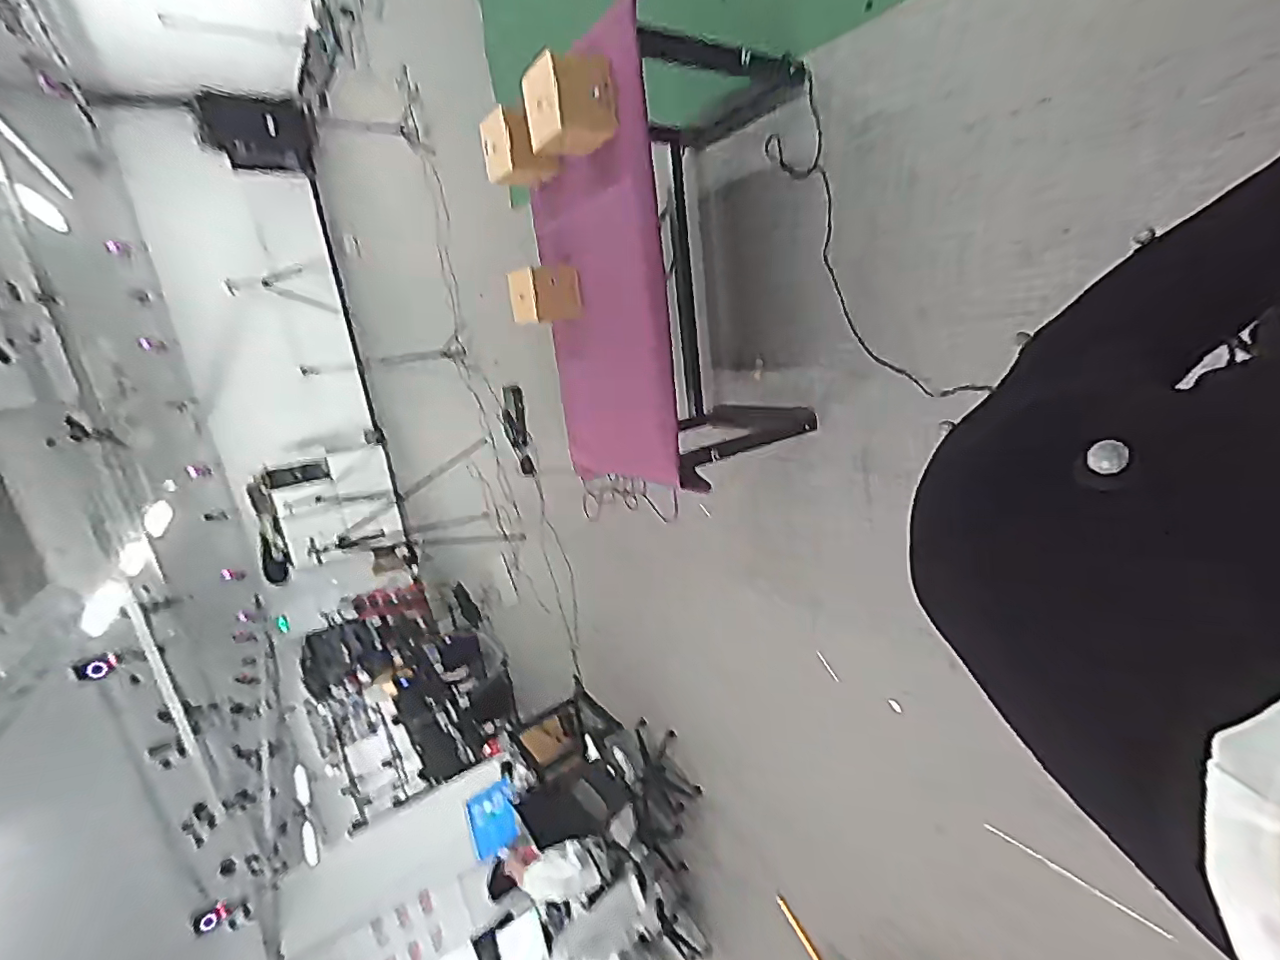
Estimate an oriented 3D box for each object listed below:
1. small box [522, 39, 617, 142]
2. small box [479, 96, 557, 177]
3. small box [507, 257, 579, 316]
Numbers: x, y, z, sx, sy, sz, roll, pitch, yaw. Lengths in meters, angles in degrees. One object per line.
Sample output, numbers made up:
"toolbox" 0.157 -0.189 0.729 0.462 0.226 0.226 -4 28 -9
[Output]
"small box" -0.180 -0.987 1.388 0.179 0.176 0.168 16 120 54
"small box" -0.363 -1.035 1.642 0.179 0.176 0.168 15 117 50
"small box" -0.309 -0.629 1.760 0.179 0.176 0.168 20 120 51
